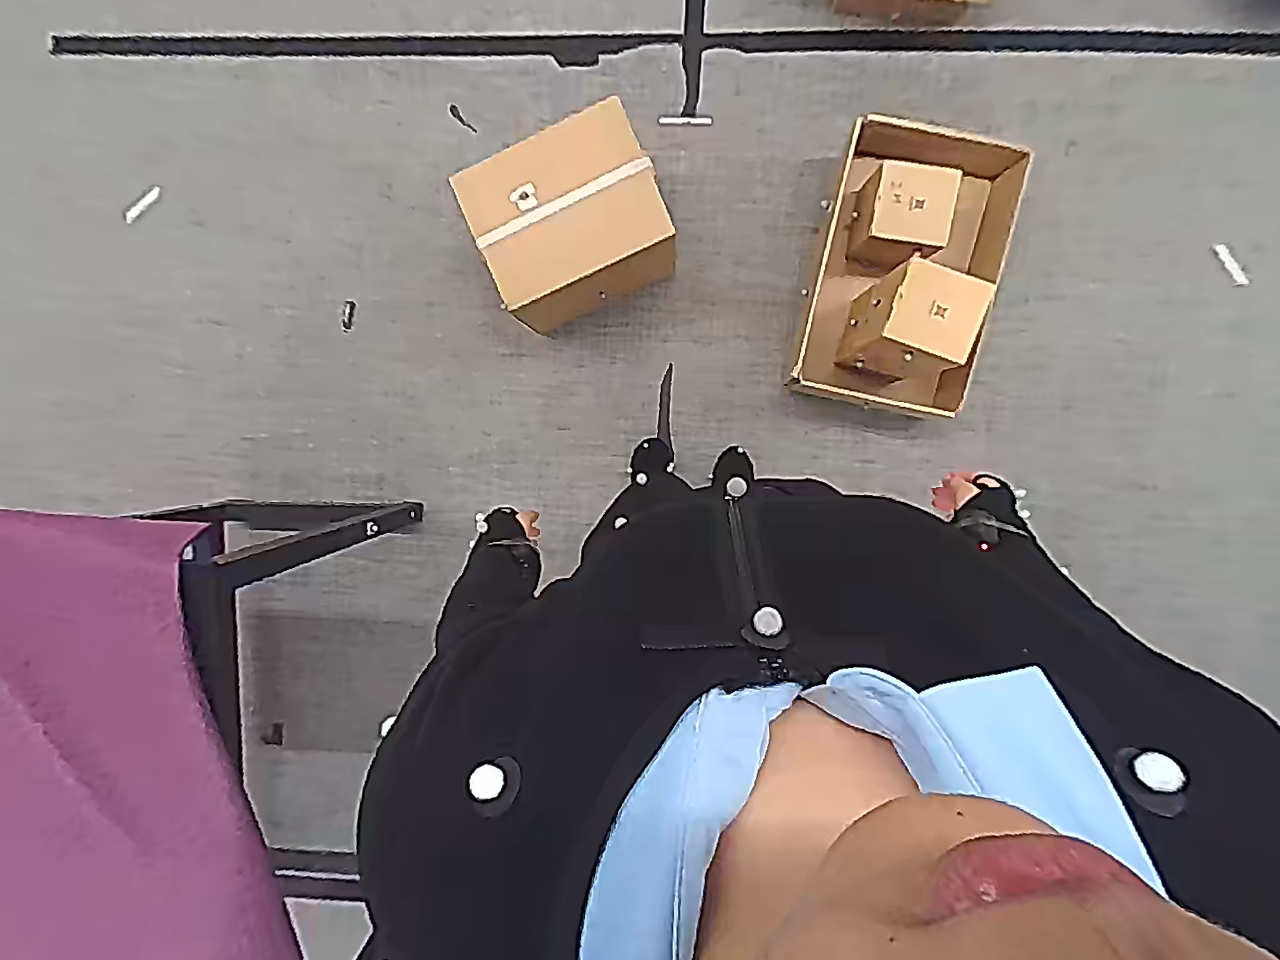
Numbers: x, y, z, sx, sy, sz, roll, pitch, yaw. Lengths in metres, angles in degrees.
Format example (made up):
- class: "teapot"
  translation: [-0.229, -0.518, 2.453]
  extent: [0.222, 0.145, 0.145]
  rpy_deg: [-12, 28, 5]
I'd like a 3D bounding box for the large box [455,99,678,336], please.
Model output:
- class: "large box"
  translation: [-0.150, -0.591, 1.300]
  extent: [0.408, 0.320, 0.320]
  rpy_deg: [-24, 93, 6]
